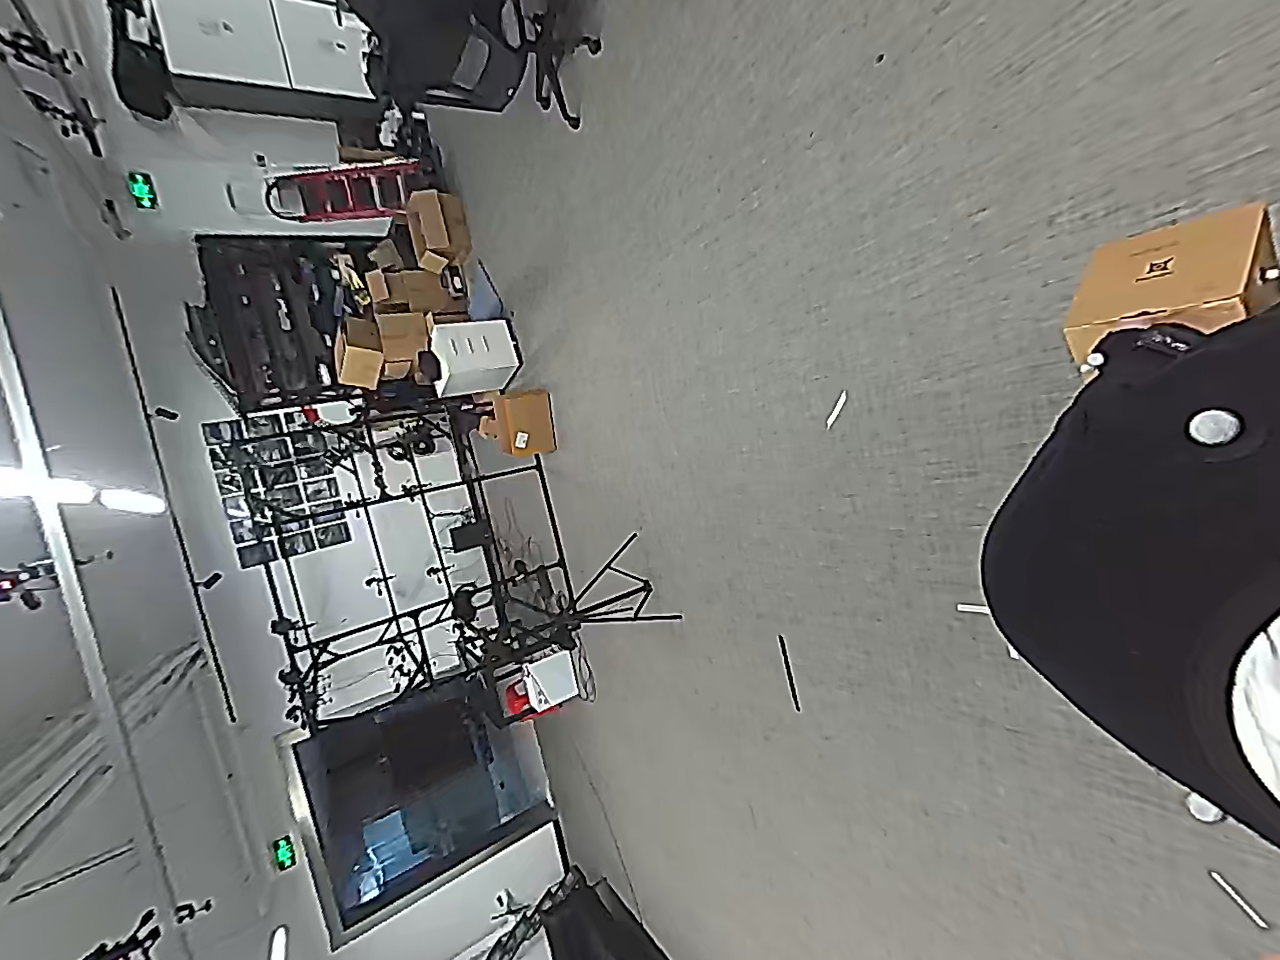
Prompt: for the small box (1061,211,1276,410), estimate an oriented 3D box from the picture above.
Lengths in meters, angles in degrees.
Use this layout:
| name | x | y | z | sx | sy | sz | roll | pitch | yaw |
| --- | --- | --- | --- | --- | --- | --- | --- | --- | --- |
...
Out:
| name | x | y | z | sx | sy | sz | roll | pitch | yaw |
| --- | --- | --- | --- | --- | --- | --- | --- | --- | --- |
| small box | 0.706 | -0.207 | 0.721 | 0.176 | 0.179 | 0.168 | 46 | 158 | -26 |
